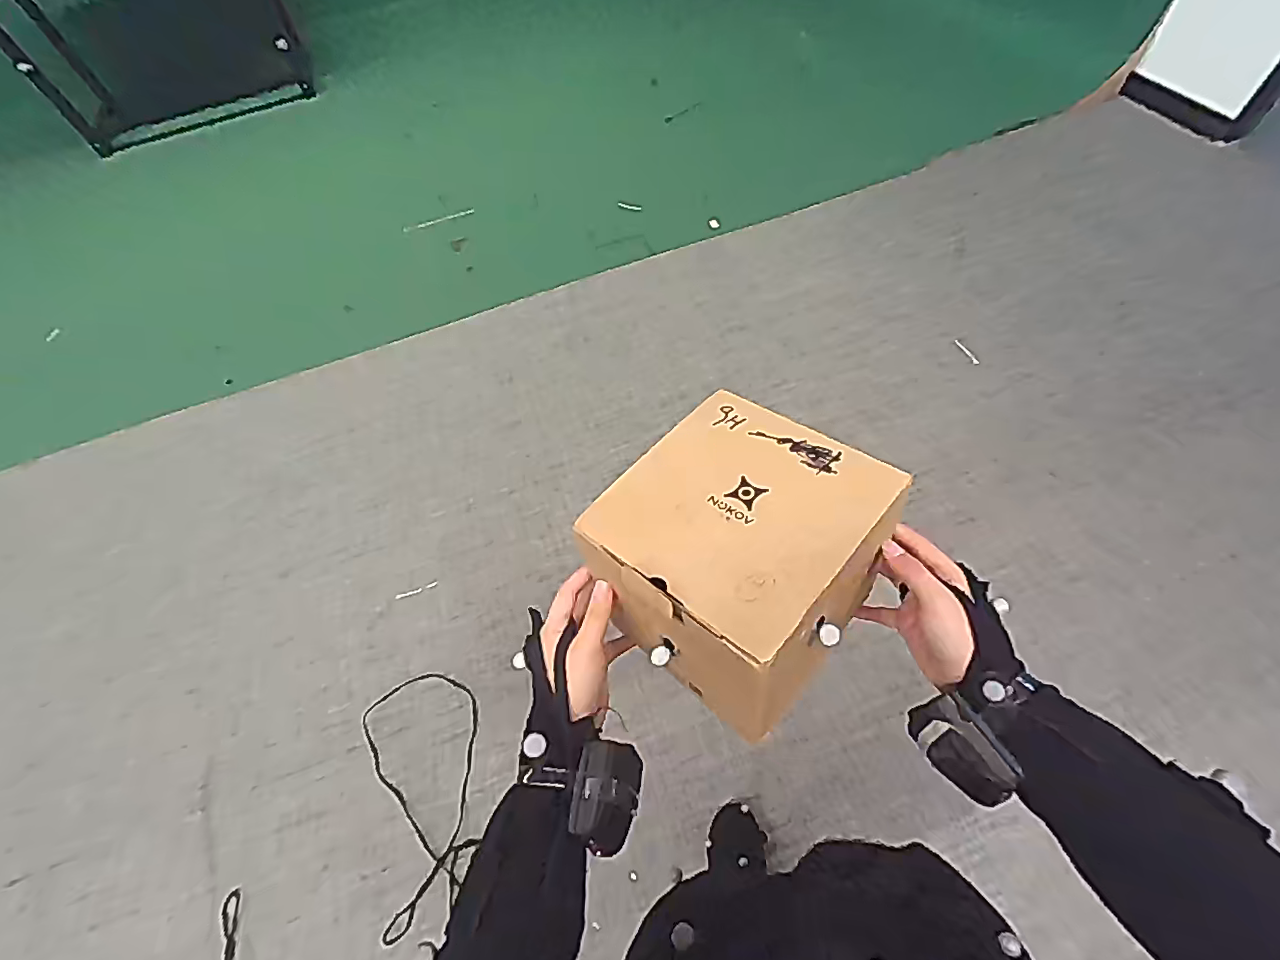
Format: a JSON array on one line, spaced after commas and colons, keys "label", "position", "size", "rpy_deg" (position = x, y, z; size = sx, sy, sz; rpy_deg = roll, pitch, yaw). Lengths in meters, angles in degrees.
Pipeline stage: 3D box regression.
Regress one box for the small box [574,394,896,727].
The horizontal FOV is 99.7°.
[{"label": "small box", "position": [0.078, 0.067, 0.446], "size": [0.168, 0.176, 0.179], "rpy_deg": [32, 63, 31]}]
